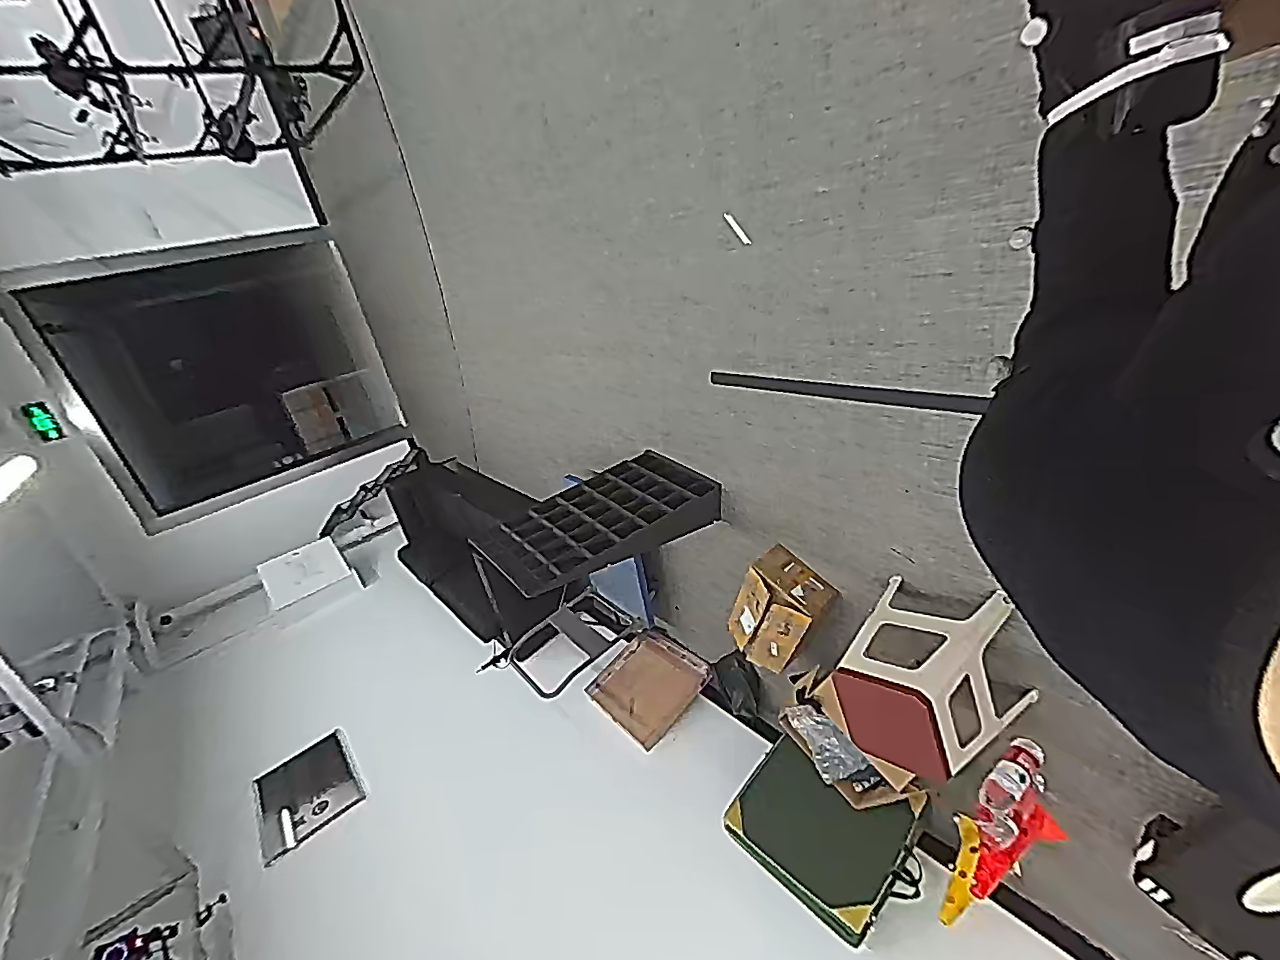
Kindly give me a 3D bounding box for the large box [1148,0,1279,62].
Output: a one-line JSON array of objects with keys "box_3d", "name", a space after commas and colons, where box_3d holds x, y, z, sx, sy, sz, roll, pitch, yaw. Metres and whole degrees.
[{"box_3d": [0.534, -0.491, 0.258, 0.408, 0.320, 0.320, 5, 115, 50], "name": "large box"}]
